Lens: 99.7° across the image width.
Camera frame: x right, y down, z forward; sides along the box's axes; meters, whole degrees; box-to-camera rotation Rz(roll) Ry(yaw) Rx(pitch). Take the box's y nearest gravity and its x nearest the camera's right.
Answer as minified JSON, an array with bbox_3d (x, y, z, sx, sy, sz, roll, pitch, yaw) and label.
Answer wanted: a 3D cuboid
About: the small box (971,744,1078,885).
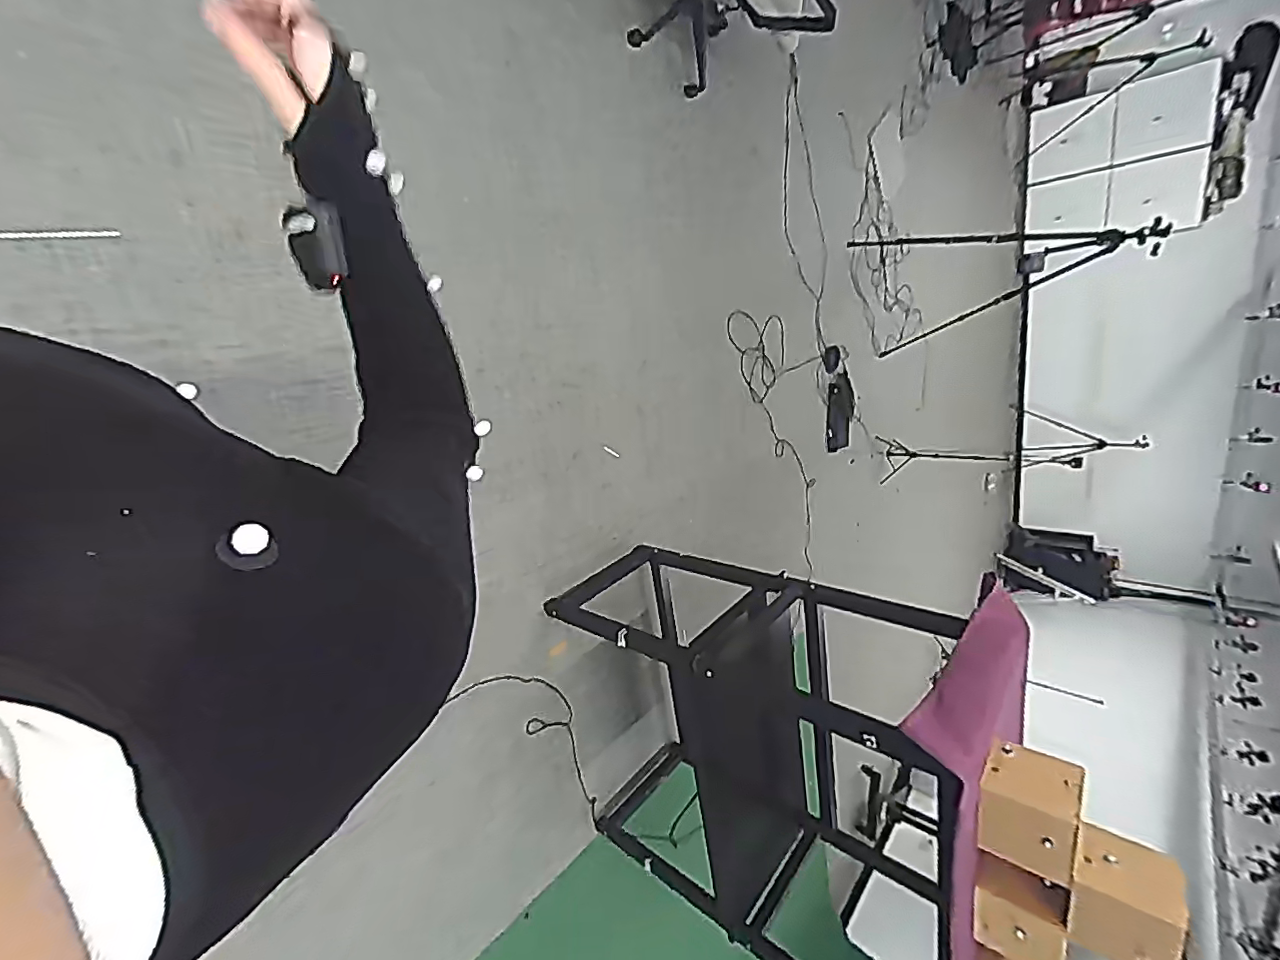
[{"bbox_3d":[0.833,0.708,1.175,0.168,0.176,0.179,-25,114,-43],"label":"small box"}]

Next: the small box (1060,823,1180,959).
[{"bbox_3d":[0.980,0.863,1.114,0.168,0.176,0.179,-24,113,-45],"label":"small box"}]

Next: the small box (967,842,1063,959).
[{"bbox_3d":[0.870,0.976,1.254,0.179,0.176,0.168,-25,112,-44],"label":"small box"}]
